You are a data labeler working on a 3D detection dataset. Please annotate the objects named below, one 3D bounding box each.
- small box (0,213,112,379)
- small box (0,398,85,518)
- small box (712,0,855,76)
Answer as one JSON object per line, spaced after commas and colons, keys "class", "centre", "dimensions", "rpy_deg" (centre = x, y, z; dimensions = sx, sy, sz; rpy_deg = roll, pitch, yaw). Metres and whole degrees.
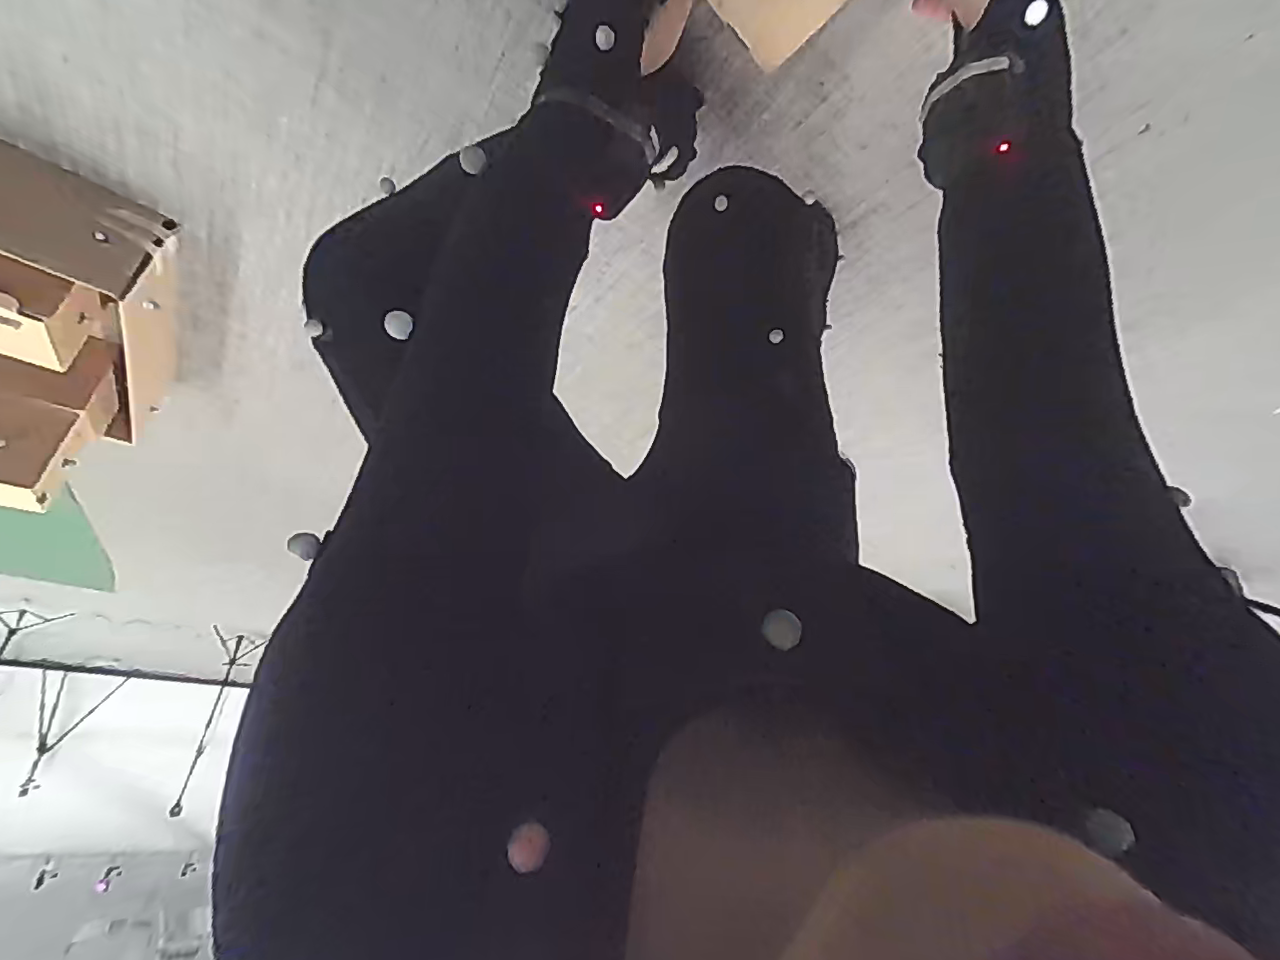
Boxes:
{"class": "small box", "centre": [-1.001, -0.299, 0.872], "dimensions": [0.168, 0.176, 0.179], "rpy_deg": [21, 149, -32]}
{"class": "small box", "centre": [-1.207, -0.045, 1.030], "dimensions": [0.179, 0.176, 0.168], "rpy_deg": [22, 147, -34]}
{"class": "small box", "centre": [0.129, -0.511, 0.451], "dimensions": [0.168, 0.176, 0.179], "rpy_deg": [25, 146, -35]}
